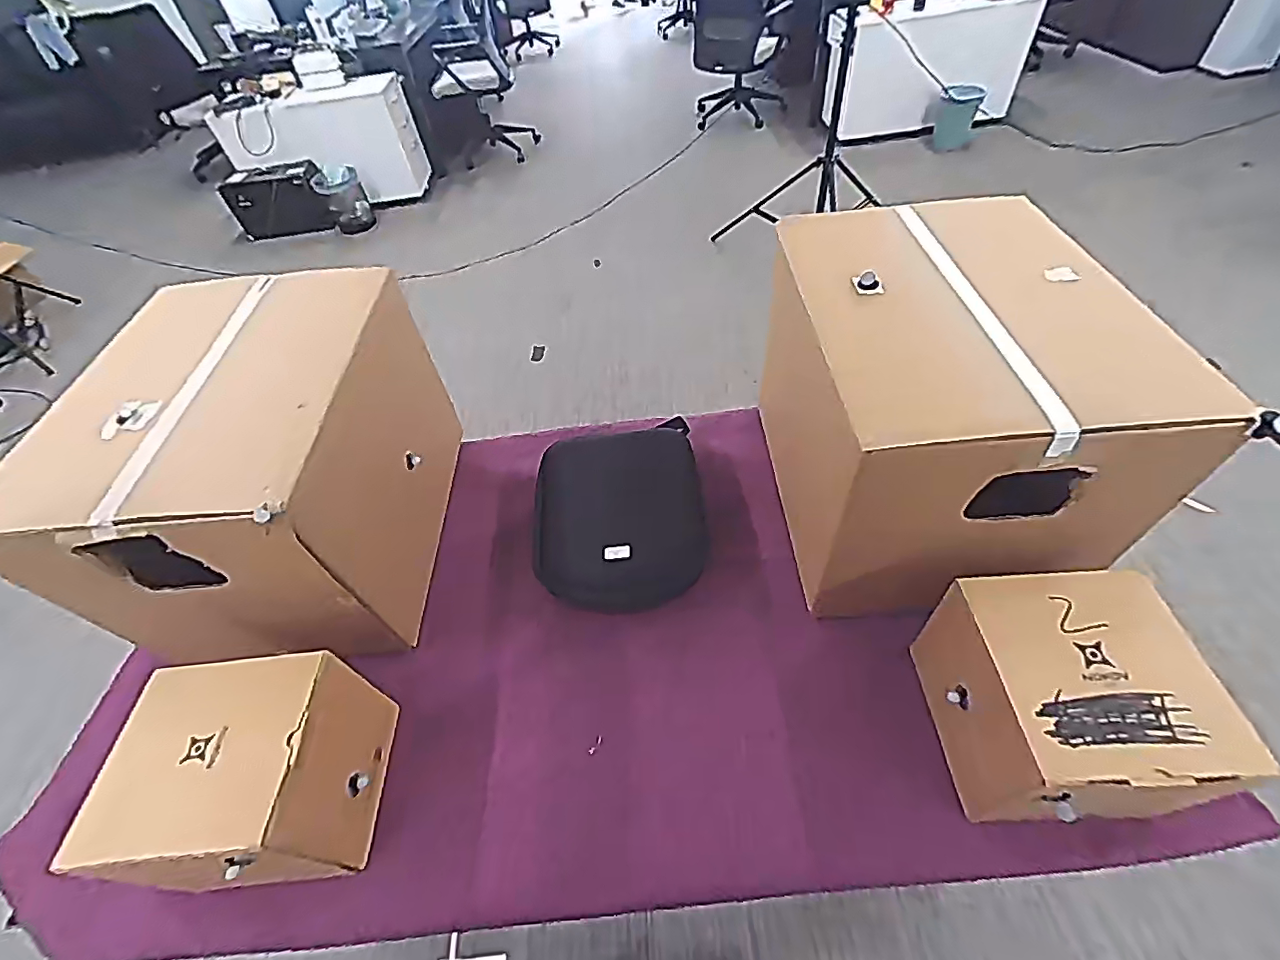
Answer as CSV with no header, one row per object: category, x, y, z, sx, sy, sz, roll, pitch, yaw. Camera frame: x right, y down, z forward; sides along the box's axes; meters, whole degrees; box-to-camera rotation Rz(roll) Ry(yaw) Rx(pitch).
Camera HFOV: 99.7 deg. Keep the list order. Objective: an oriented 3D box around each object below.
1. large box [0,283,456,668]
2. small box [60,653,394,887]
large box,-0.463,-0.005,0.719,0.320,0.320,0.408,-6,52,1
small box,-0.385,0.297,0.548,0.179,0.176,0.168,-7,48,0
